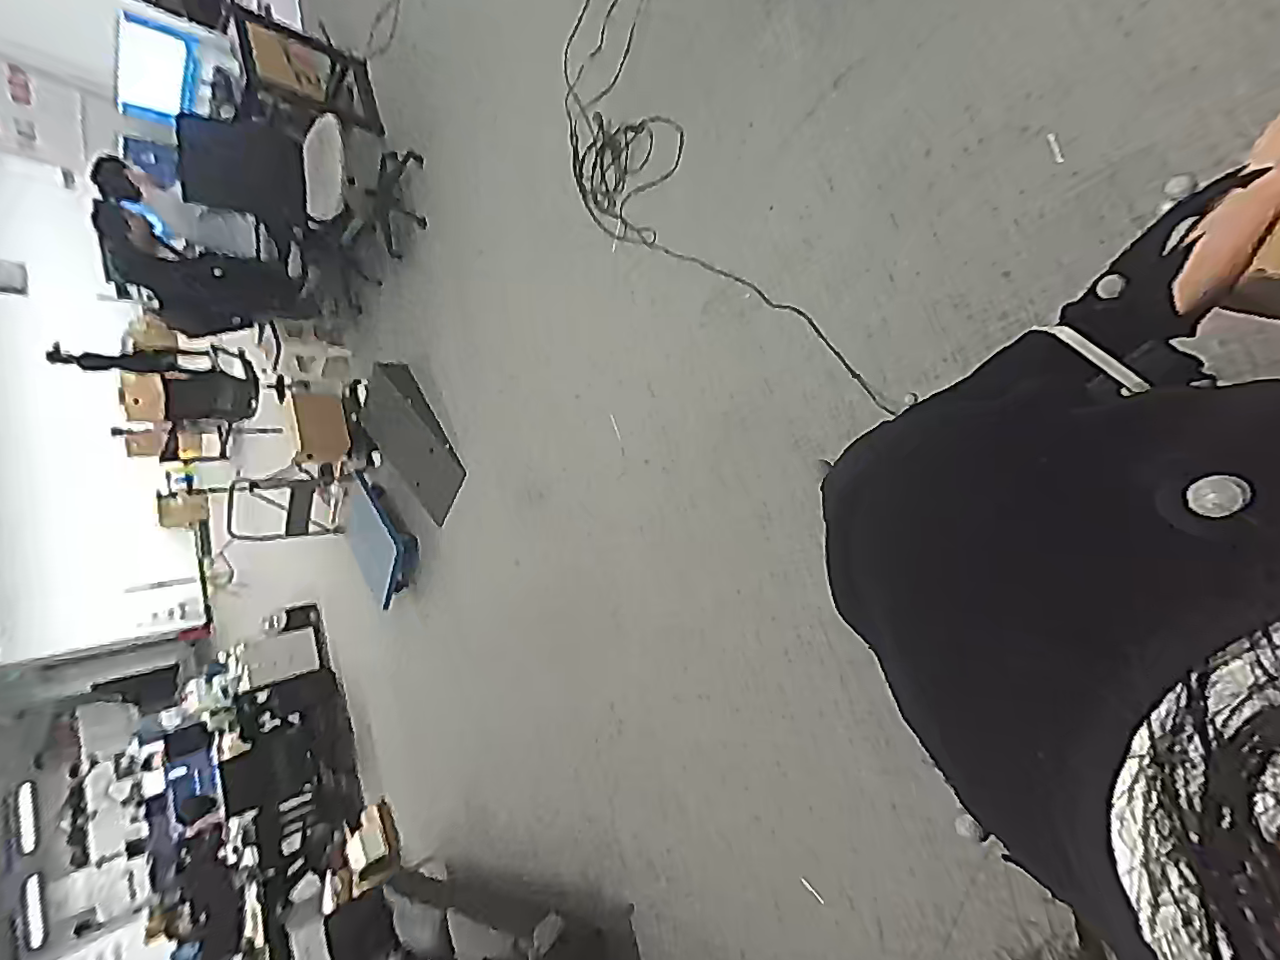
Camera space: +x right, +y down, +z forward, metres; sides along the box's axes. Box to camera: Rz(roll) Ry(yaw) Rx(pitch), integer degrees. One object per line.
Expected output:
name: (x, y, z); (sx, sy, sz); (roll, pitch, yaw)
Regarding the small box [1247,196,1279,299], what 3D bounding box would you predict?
small box: (0.436, -0.170, 0.244); (0.168, 0.176, 0.179); (30, 117, 36)
